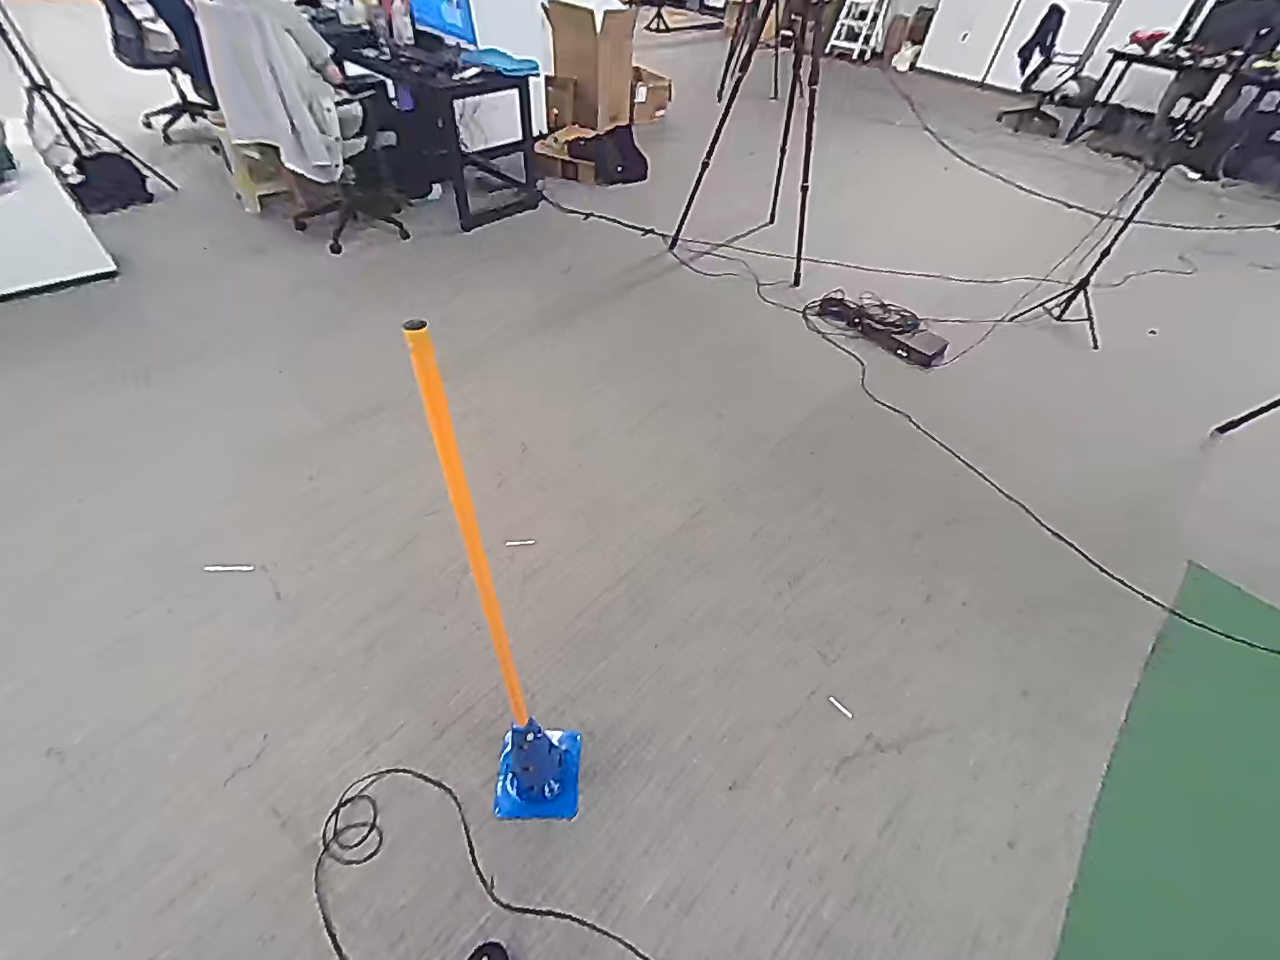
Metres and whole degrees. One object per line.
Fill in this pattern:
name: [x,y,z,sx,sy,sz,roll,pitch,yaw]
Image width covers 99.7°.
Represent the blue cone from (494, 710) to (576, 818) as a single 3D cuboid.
blue cone: [-0.249,0.608,1.214,0.192,0.380,0.193,1,45,-3]
